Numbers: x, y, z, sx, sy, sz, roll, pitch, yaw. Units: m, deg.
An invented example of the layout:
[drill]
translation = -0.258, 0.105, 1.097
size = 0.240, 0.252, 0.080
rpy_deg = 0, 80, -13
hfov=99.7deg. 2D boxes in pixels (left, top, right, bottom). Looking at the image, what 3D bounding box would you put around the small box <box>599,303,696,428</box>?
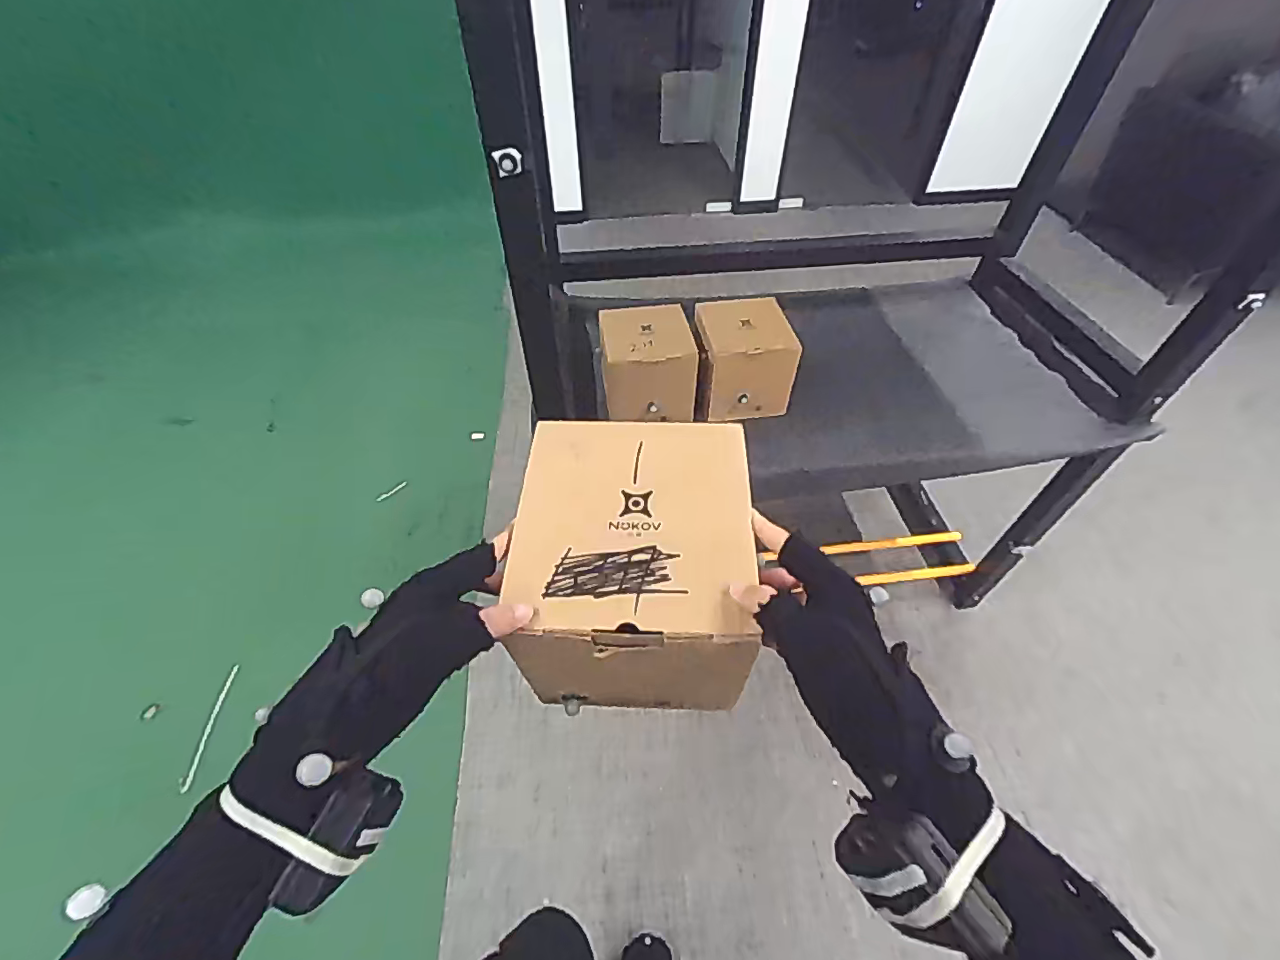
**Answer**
[small box]
translation = 0.009, -0.227, 1.071
size = 0.168, 0.176, 0.179
rpy_deg = -7, 49, -5
